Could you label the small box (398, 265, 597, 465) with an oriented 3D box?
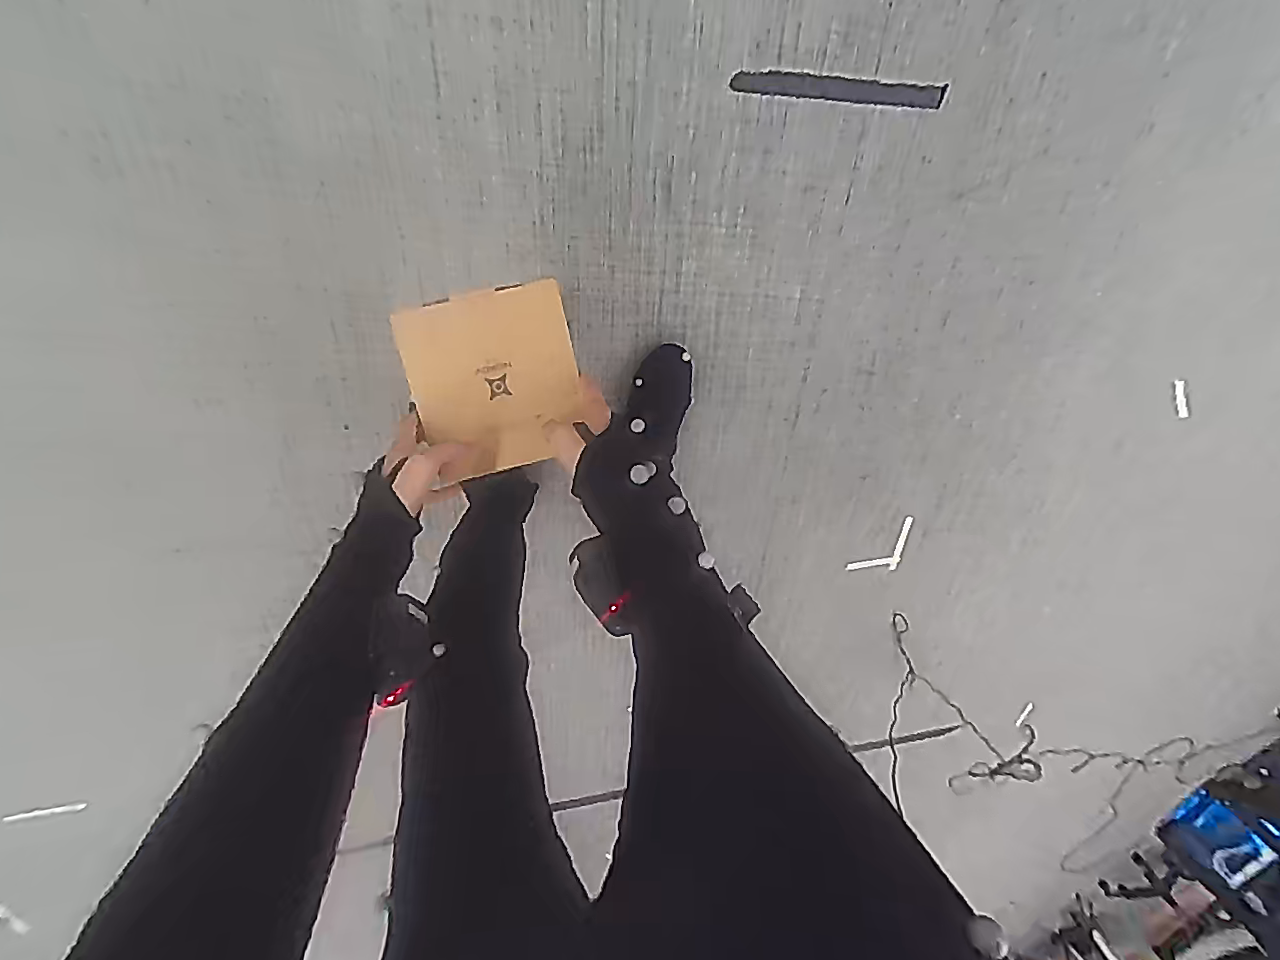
[{"bbox_3d":[-0.152,-0.128,0.623,0.168,0.176,0.179,-13,103,-6],"label":"small box"}]
